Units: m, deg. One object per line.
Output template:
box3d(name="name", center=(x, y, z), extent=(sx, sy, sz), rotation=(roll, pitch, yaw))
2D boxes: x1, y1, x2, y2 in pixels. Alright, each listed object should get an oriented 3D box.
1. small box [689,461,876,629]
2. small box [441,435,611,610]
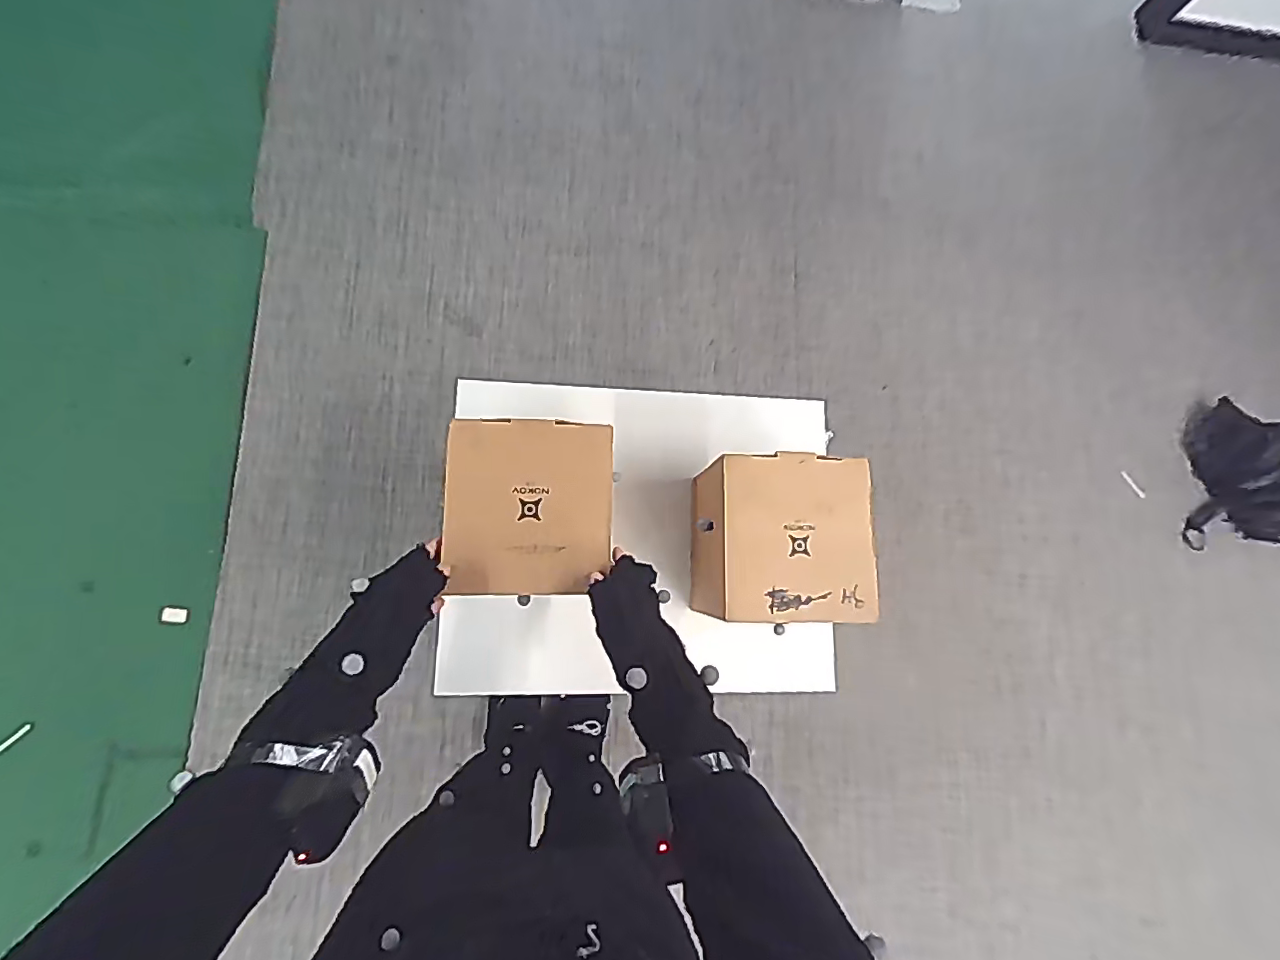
box3d(name="small box", center=(0.154, 0.083, 0.644), extent=(0.168, 0.176, 0.179), rotation=(0, 79, -6))
box3d(name="small box", center=(-0.122, 0.054, 0.618), extent=(0.168, 0.176, 0.179), rotation=(0, 81, -7))
